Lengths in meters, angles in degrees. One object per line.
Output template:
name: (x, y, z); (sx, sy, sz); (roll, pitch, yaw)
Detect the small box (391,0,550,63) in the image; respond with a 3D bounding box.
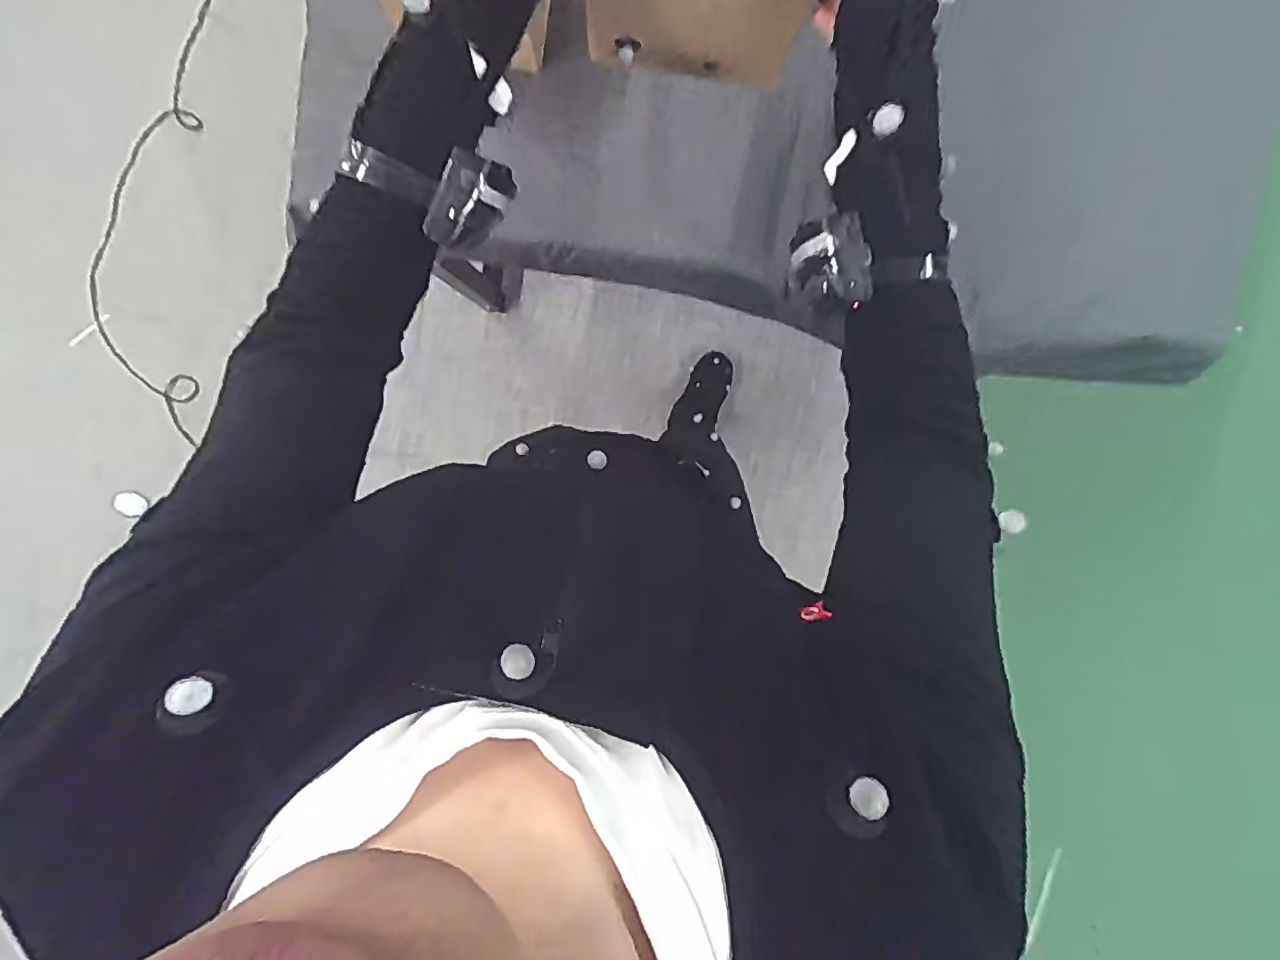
small box: (-0.191, -0.607, 0.594); (0.168, 0.176, 0.179); (9, 96, 1)

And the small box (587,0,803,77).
small box: (0.049, -0.430, 0.379); (0.168, 0.176, 0.179); (8, 96, -2)
